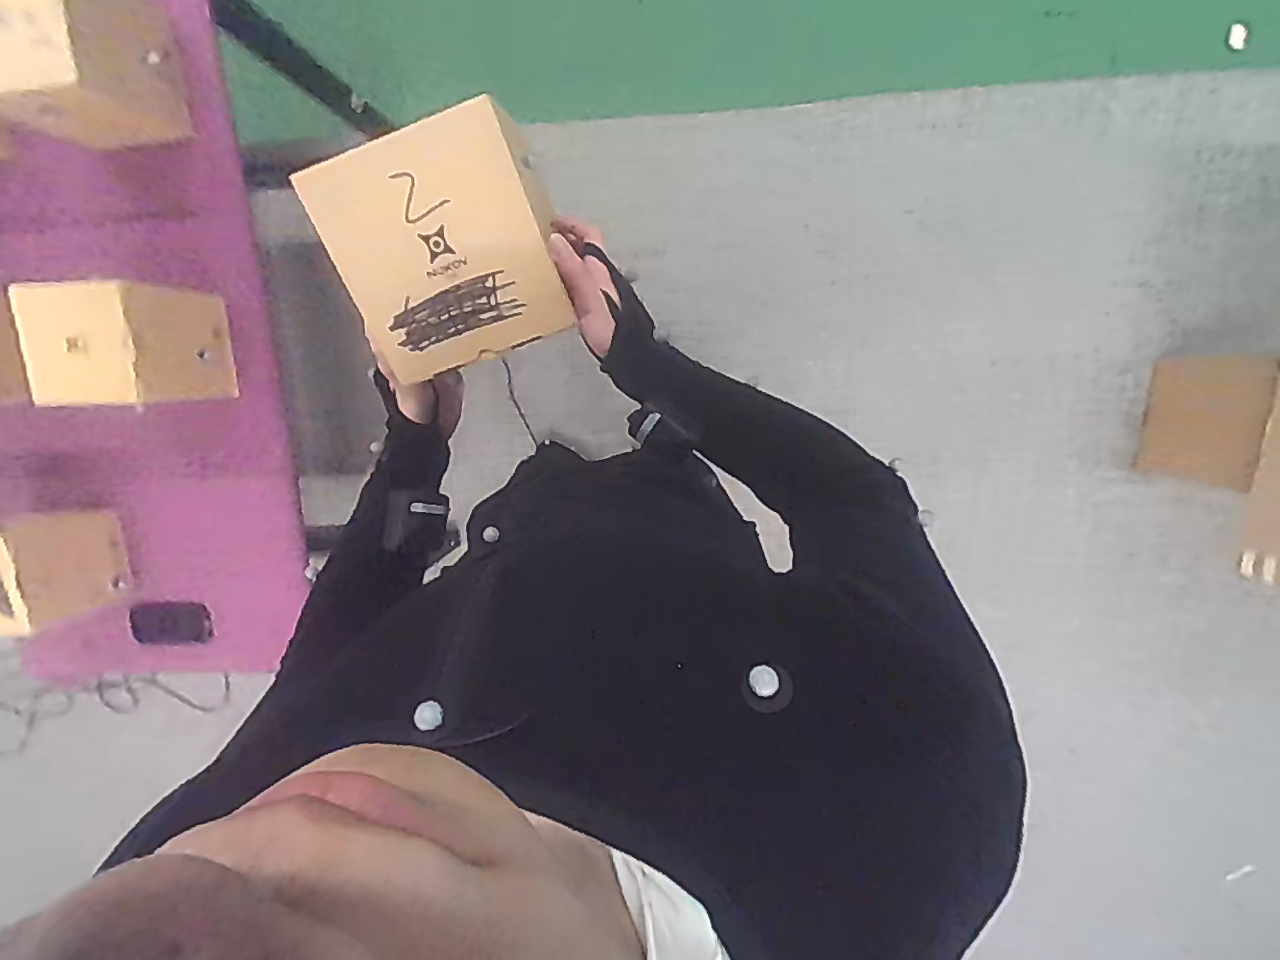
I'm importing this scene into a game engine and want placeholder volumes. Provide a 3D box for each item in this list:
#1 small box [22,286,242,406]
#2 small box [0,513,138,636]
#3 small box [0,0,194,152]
[{"bbox_3d":[-0.776,-0.201,0.844,0.179,0.176,0.168,-1,101,7],"label":"small box"},{"bbox_3d":[-1.030,0.157,0.939,0.179,0.176,0.168,-3,100,7],"label":"small box"},{"bbox_3d":[-0.796,-0.590,0.766,0.179,0.176,0.168,-3,102,6],"label":"small box"}]
